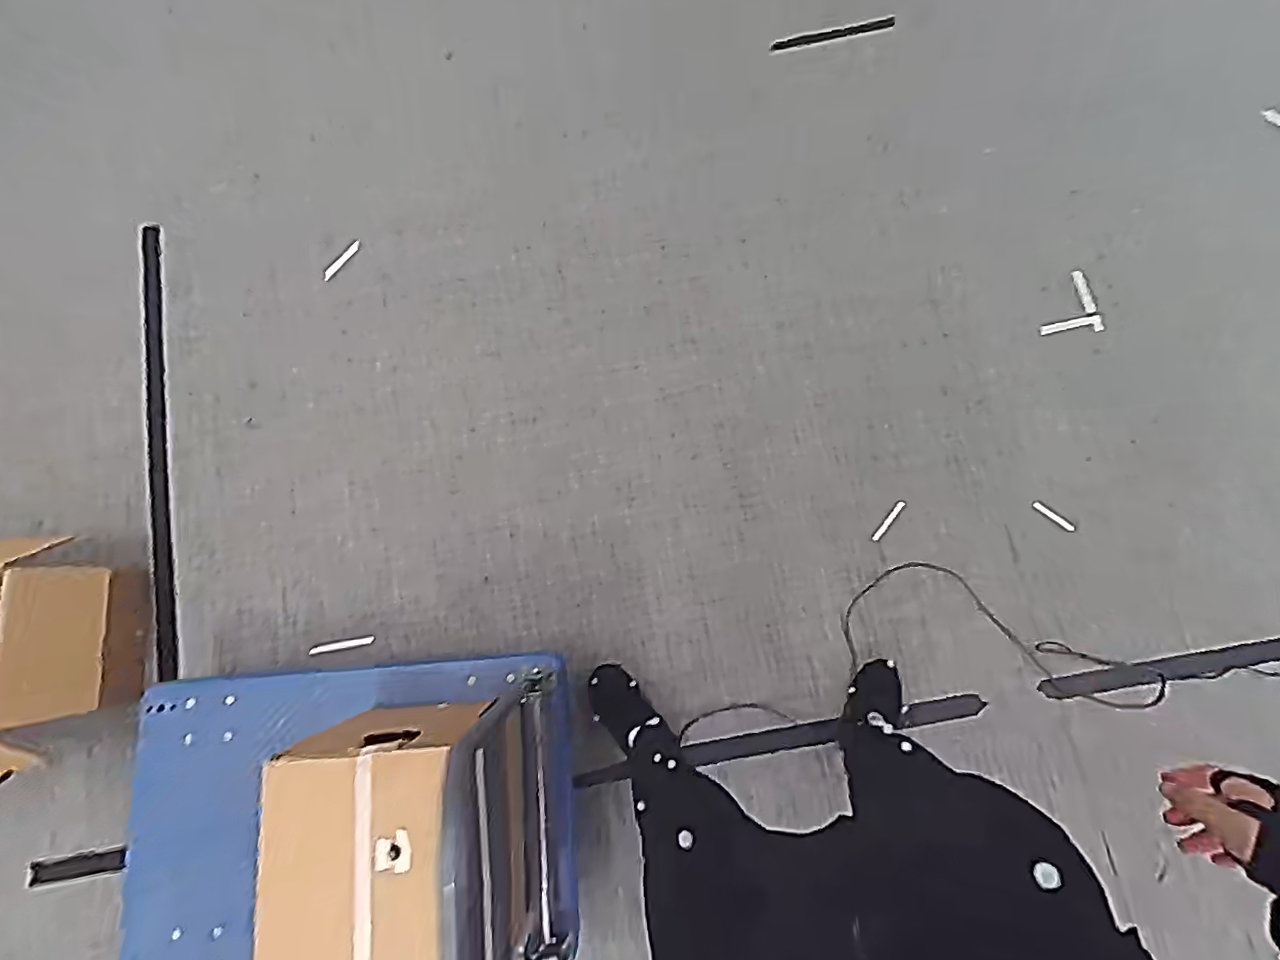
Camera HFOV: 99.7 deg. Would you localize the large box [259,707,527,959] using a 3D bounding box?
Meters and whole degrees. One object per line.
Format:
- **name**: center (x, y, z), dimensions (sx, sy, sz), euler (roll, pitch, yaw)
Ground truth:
- **large box**: center (-0.387, 0.637, 0.920), dimensions (0.320, 0.320, 0.408), euler (-5, 78, 0)
